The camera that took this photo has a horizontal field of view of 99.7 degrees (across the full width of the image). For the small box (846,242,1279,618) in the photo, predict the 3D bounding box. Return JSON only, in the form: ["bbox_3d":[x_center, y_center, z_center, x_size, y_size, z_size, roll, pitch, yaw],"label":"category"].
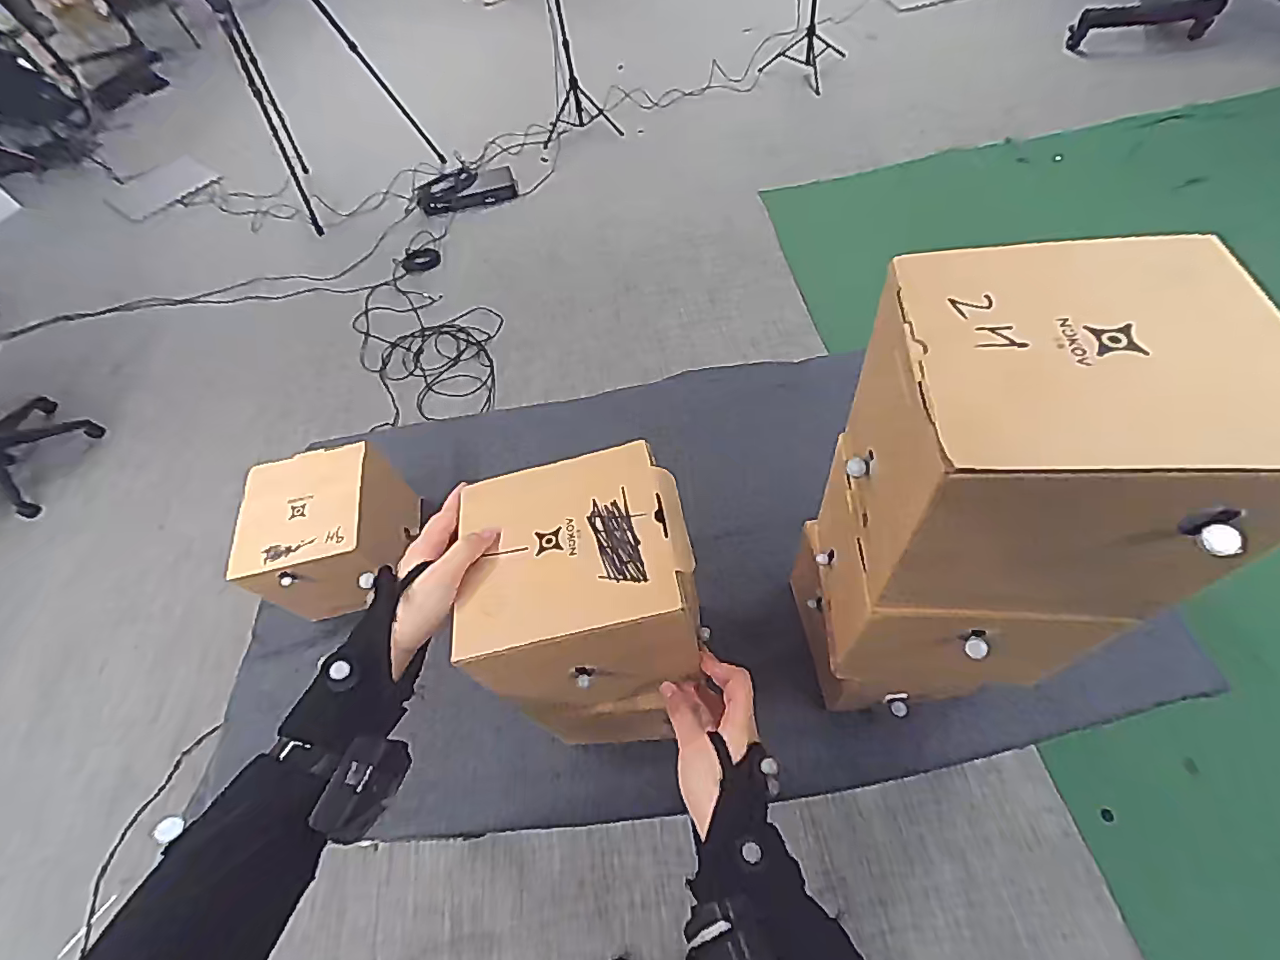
[{"bbox_3d":[0.241,-0.021,0.341,0.179,0.176,0.168,0,55,11],"label":"small box"}]

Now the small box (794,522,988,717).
[{"bbox_3d":[0.282,0.152,0.616,0.168,0.176,0.179,-10,55,3],"label":"small box"}]

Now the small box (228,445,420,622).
[{"bbox_3d":[-0.432,0.081,0.776,0.168,0.176,0.179,-13,57,0],"label":"small box"}]

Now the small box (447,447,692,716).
[{"bbox_3d":[-0.053,0.100,0.497,0.179,0.176,0.168,-14,52,3],"label":"small box"}]

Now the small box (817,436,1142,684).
[{"bbox_3d":[0.262,0.074,0.475,0.179,0.176,0.168,-2,55,10],"label":"small box"}]
